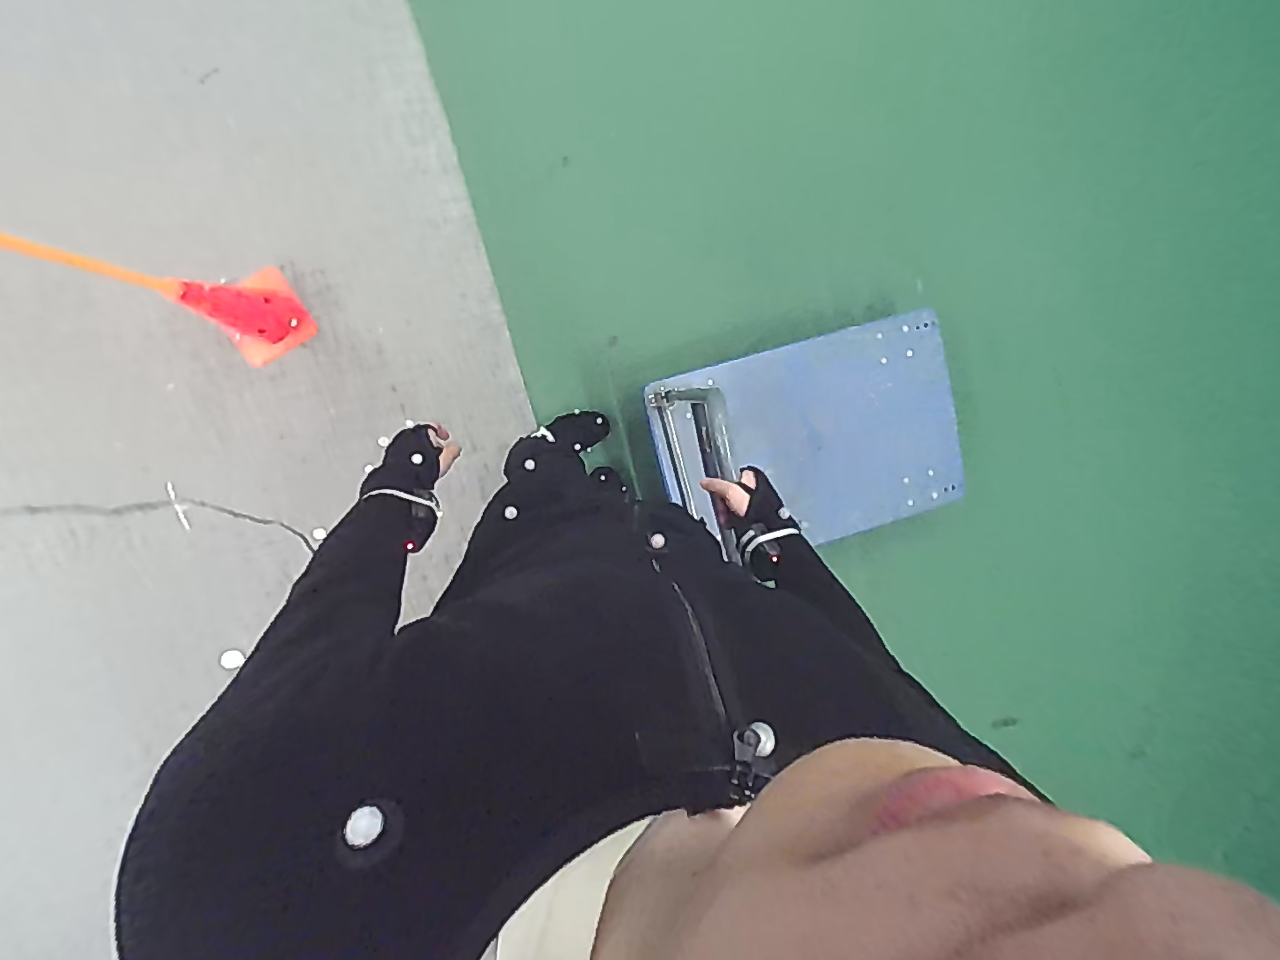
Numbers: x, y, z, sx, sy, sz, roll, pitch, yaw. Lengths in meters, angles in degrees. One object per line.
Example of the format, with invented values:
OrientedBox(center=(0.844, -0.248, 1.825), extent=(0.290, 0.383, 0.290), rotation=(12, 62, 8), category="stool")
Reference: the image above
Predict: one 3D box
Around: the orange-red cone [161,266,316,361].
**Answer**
OrientedBox(center=(-0.965, -0.417, 1.255), extent=(0.198, 0.360, 0.199), rotation=(-31, 99, -4), category="orange-red cone")
